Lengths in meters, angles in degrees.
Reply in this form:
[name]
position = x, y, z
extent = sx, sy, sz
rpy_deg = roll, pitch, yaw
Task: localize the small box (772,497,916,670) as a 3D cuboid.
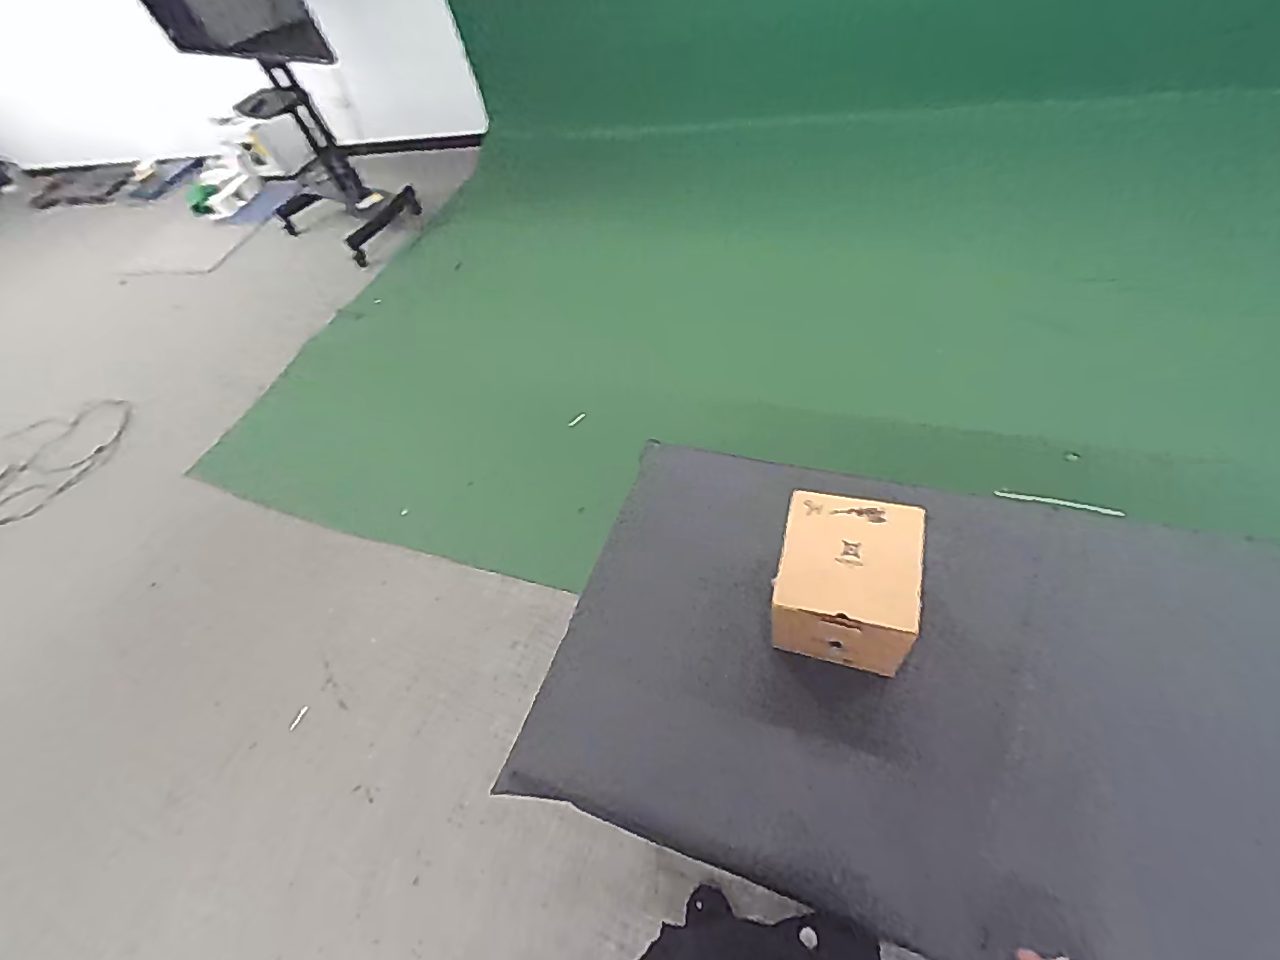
[small box]
position = 0.282, 0.146, 0.752
extent = 0.168, 0.176, 0.179
rpy_deg = 5, 56, 19
